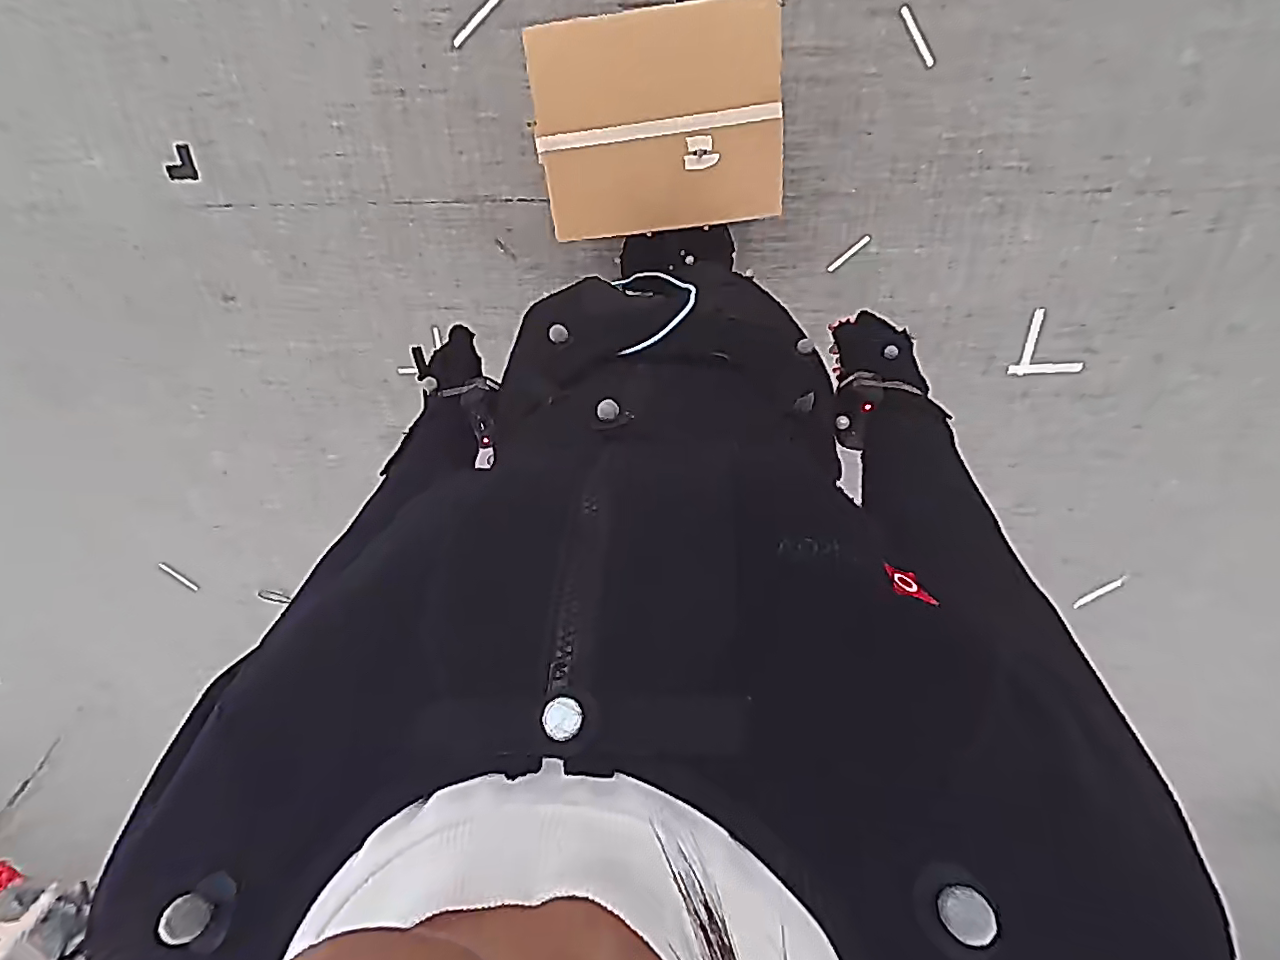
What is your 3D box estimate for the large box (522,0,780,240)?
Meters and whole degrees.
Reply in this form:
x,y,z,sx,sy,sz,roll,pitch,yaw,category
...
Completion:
x,y,z,sx,sy,sz,roll,pitch,yaw,category
0.031,-0.655,1.024,0.408,0.320,0.320,-5,117,4,large box
